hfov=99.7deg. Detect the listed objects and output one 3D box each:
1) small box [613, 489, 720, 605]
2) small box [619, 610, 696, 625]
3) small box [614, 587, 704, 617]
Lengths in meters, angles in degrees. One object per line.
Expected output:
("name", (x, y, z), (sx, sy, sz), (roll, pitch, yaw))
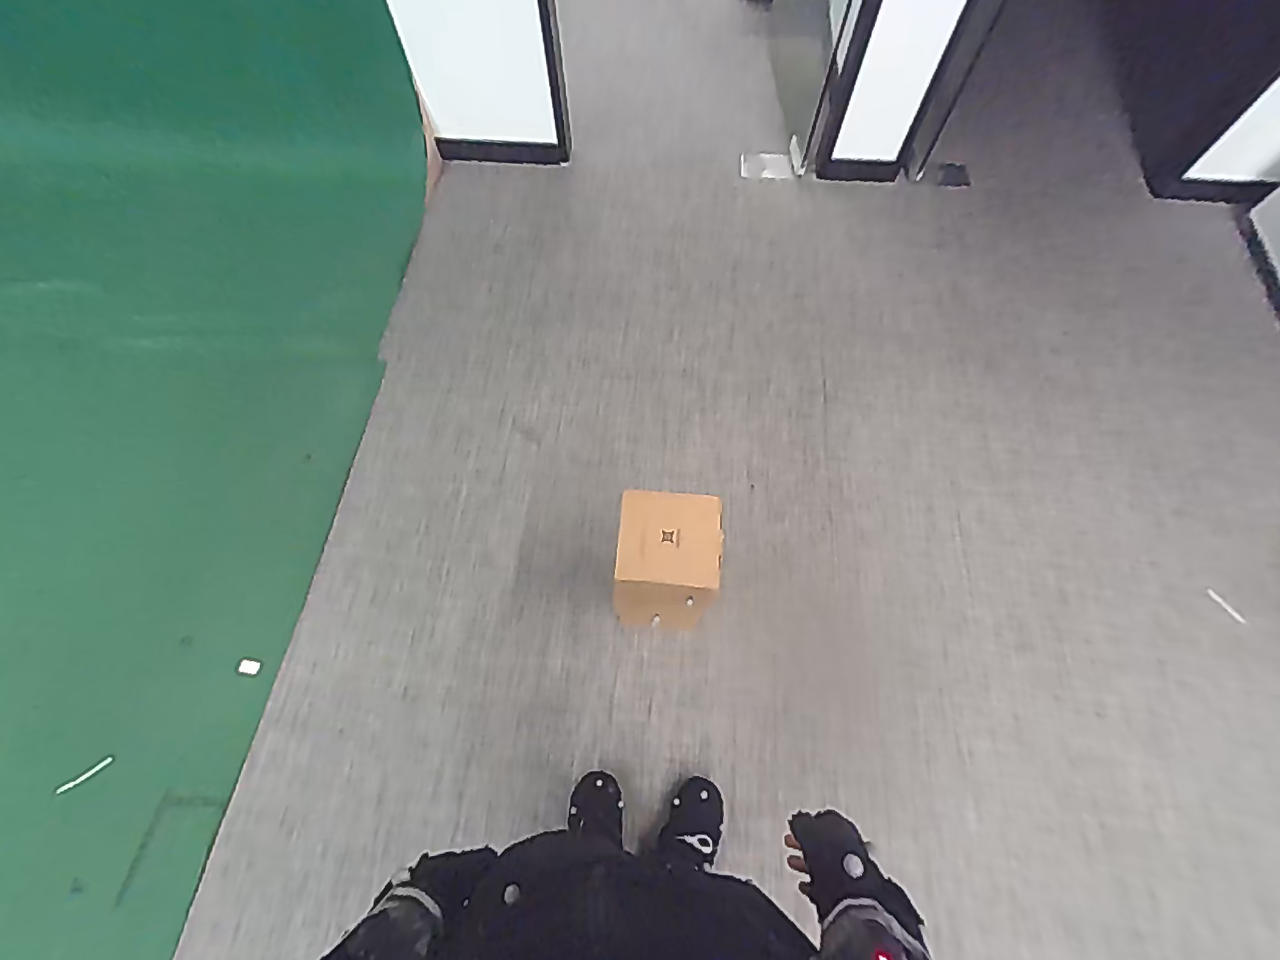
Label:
("small box", (0.049, 0.129, 0.991), (0.179, 0.176, 0.168), (3, 65, 3))
("small box", (0.046, 0.247, 1.295), (0.179, 0.176, 0.168), (4, 66, 4))
("small box", (0.042, 0.193, 1.144), (0.179, 0.176, 0.168), (3, 67, 3))
